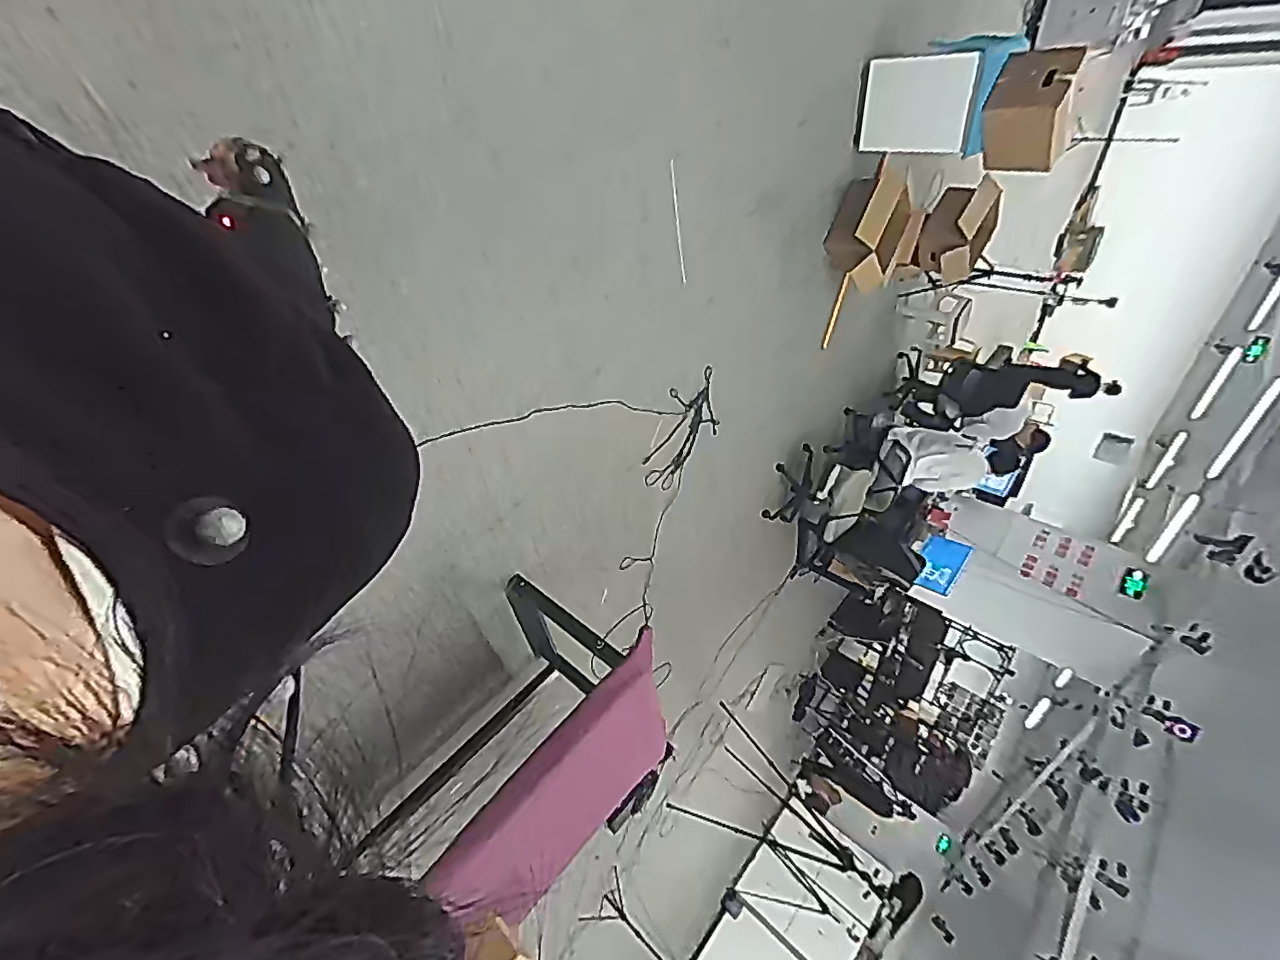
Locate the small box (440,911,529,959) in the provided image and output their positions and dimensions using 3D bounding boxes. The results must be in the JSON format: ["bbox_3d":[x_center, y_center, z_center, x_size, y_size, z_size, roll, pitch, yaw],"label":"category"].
[{"bbox_3d":[-0.452,1.402,1.568,0.168,0.176,0.179,-41,140,-29],"label":"small box"}]
